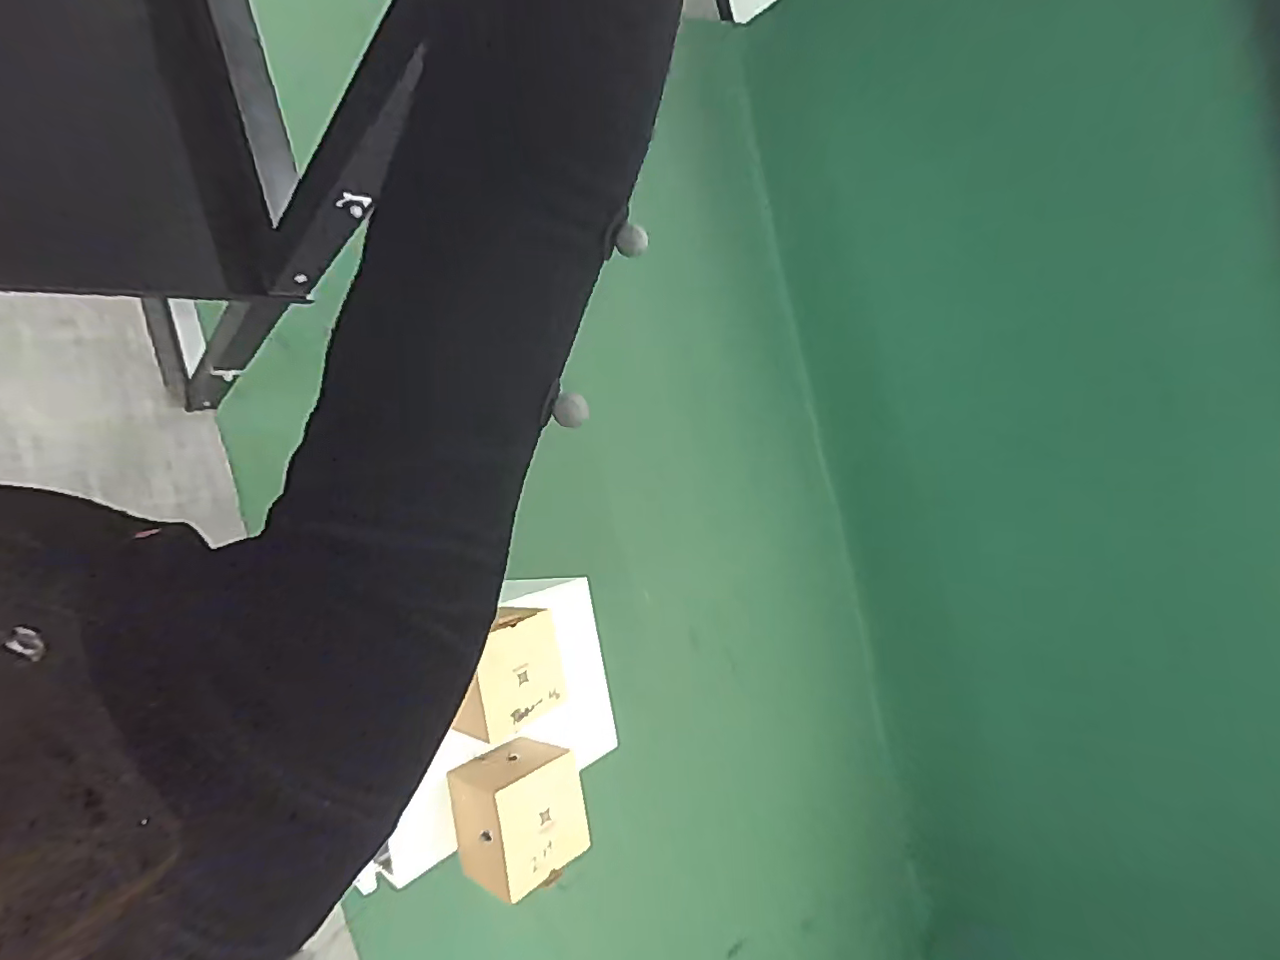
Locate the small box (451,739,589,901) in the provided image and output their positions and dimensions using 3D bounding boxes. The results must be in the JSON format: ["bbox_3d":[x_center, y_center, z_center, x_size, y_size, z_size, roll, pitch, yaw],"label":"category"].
[{"bbox_3d":[-0.216,0.580,0.956,0.168,0.176,0.179,-7,87,-46],"label":"small box"}]

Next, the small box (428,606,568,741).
[{"bbox_3d":[-0.257,0.333,0.968,0.168,0.176,0.179,-11,90,-47],"label":"small box"}]
